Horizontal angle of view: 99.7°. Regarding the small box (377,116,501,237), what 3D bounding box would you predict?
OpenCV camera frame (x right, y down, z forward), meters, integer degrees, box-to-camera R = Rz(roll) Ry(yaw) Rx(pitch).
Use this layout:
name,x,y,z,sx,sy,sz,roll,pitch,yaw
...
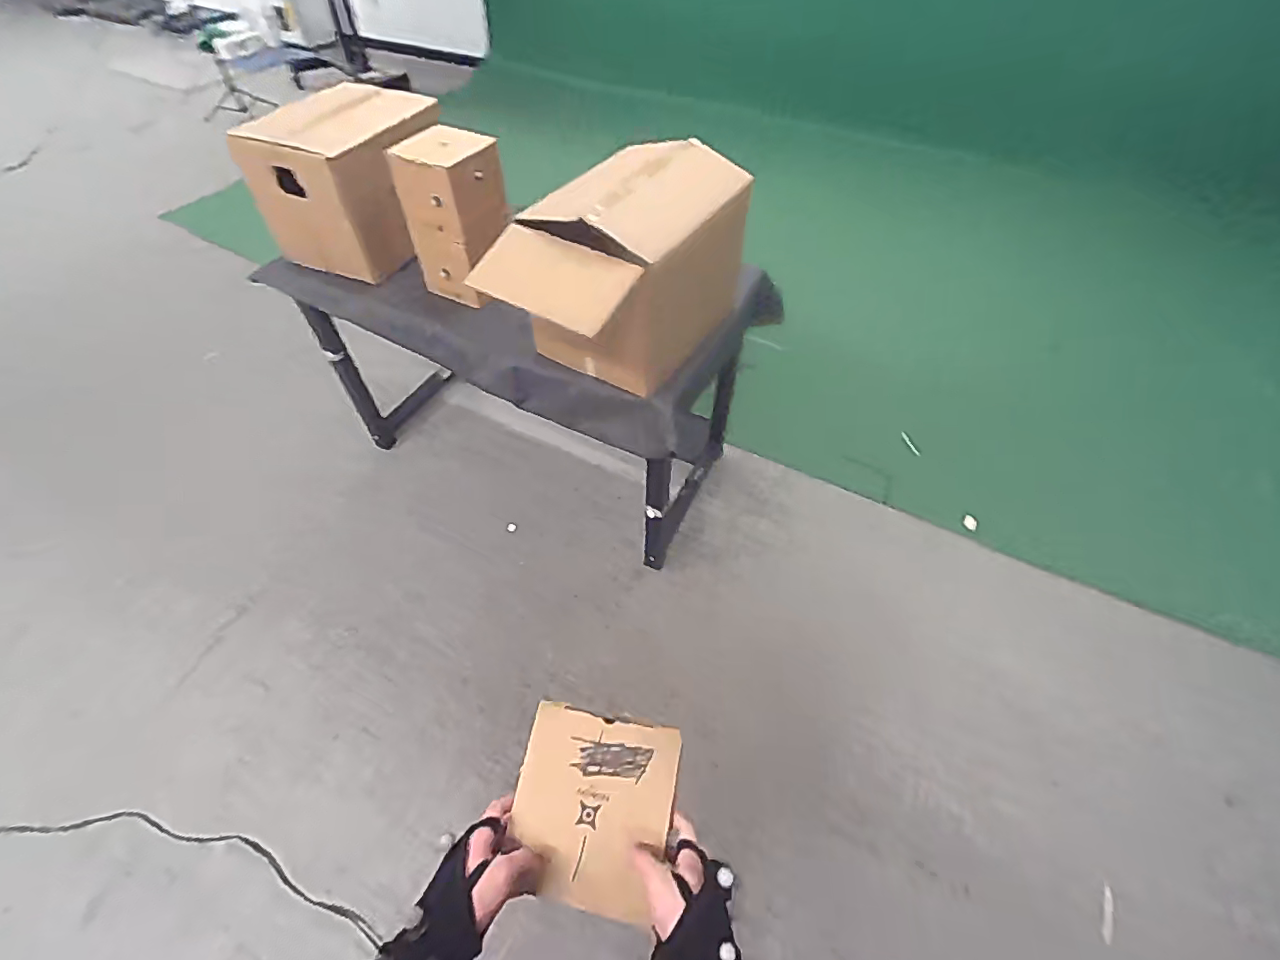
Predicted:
name,x,y,z,sx,sy,sz,roll,pitch,yaw
small box,-0.427,-0.662,1.185,0.168,0.176,0.179,23,55,15

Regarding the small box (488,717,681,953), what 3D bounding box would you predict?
name,x,y,z,sx,sy,sz,roll,pitch,yaw
small box,-0.047,0.381,0.617,0.168,0.176,0.179,8,67,9
